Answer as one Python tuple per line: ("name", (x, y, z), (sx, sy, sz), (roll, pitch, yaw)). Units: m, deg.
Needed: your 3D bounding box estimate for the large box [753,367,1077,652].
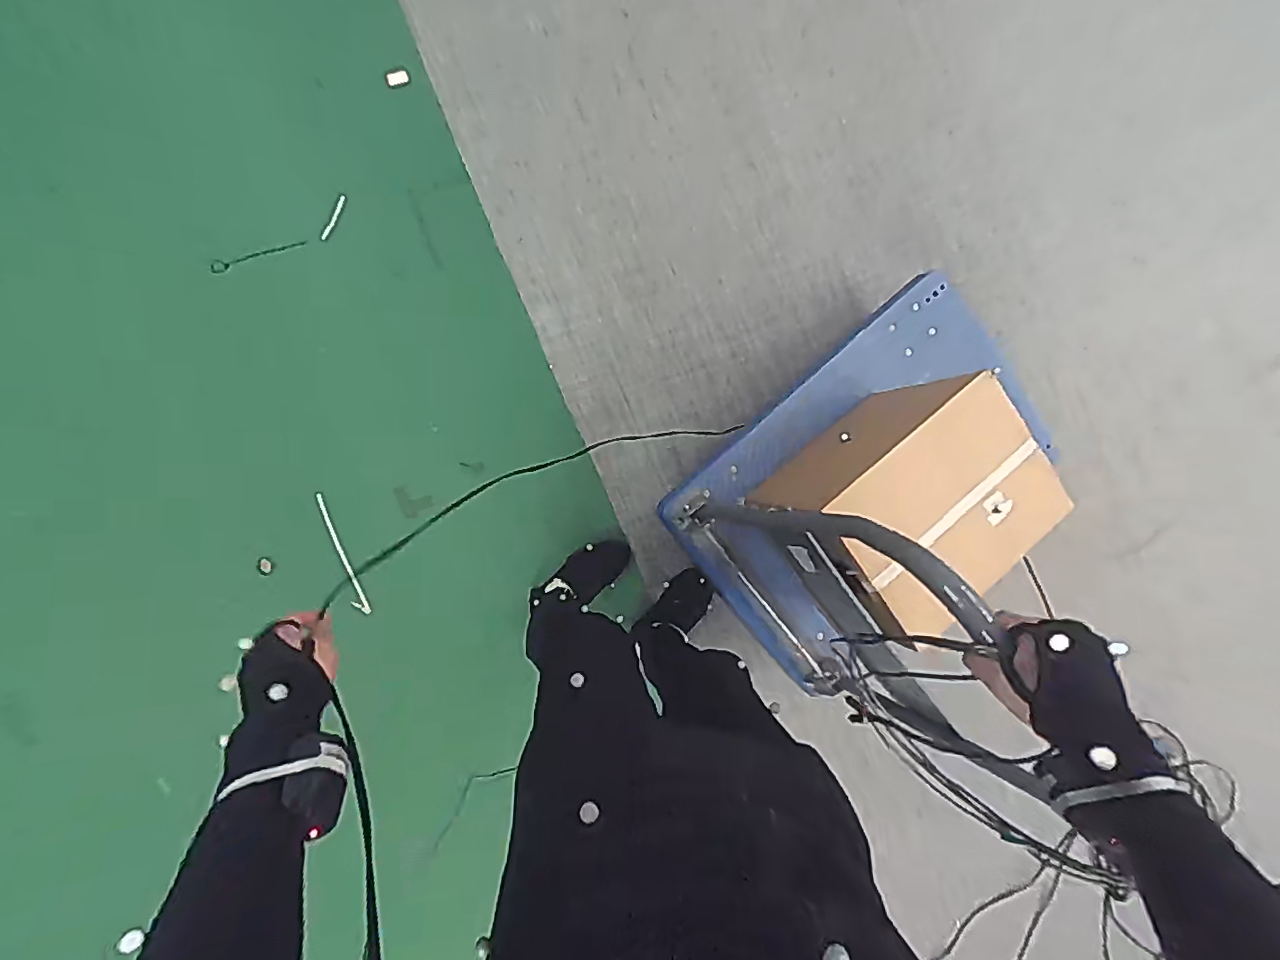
("large box", (0.504, 0.048, 1.050), (0.408, 0.320, 0.320), (-38, 99, -11))
